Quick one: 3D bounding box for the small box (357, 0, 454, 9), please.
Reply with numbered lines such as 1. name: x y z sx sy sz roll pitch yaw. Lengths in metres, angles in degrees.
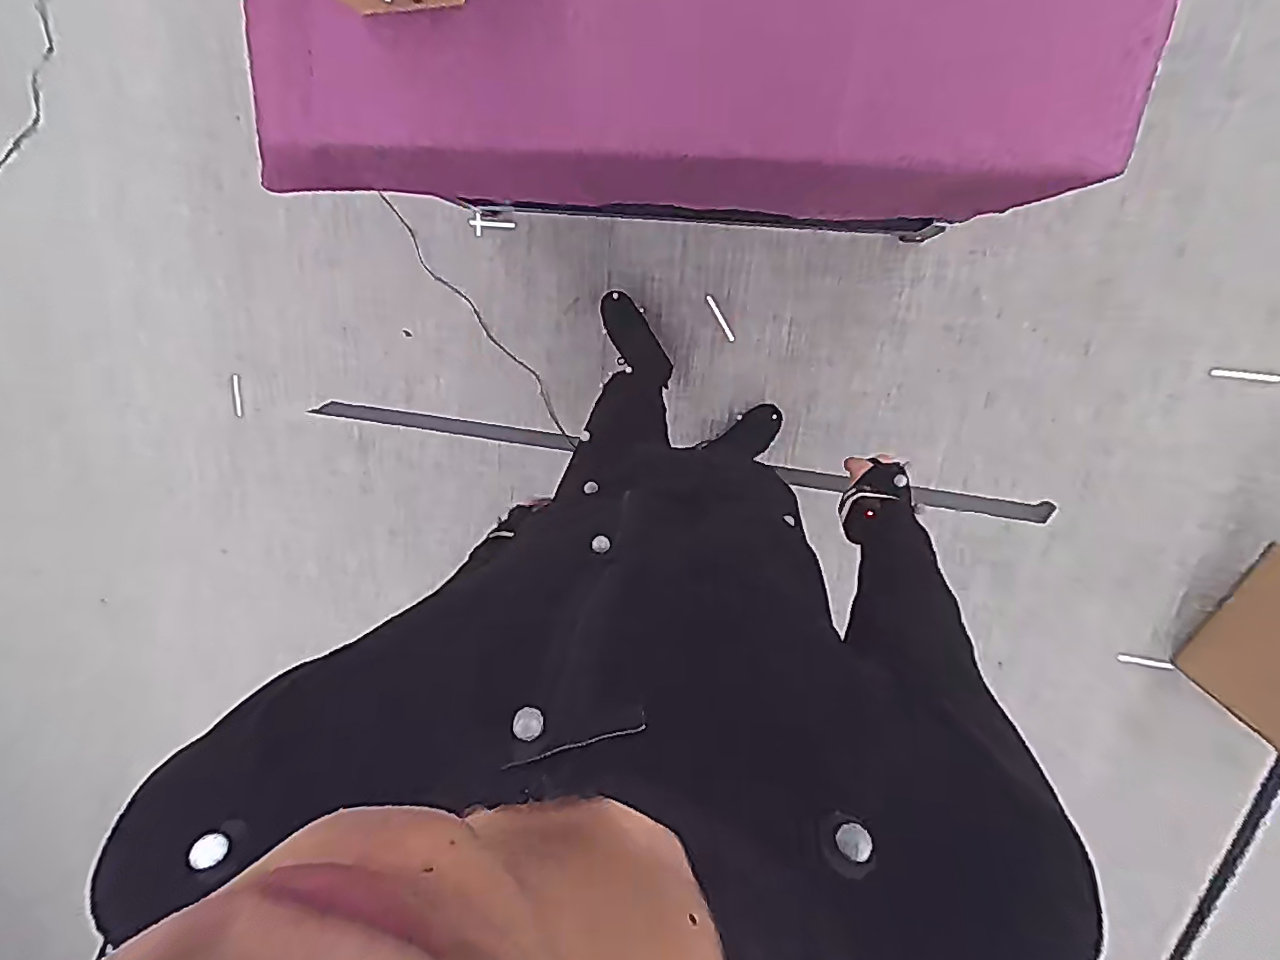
1. small box: -0.335 -0.723 0.653 0.168 0.176 0.179 4 107 10
